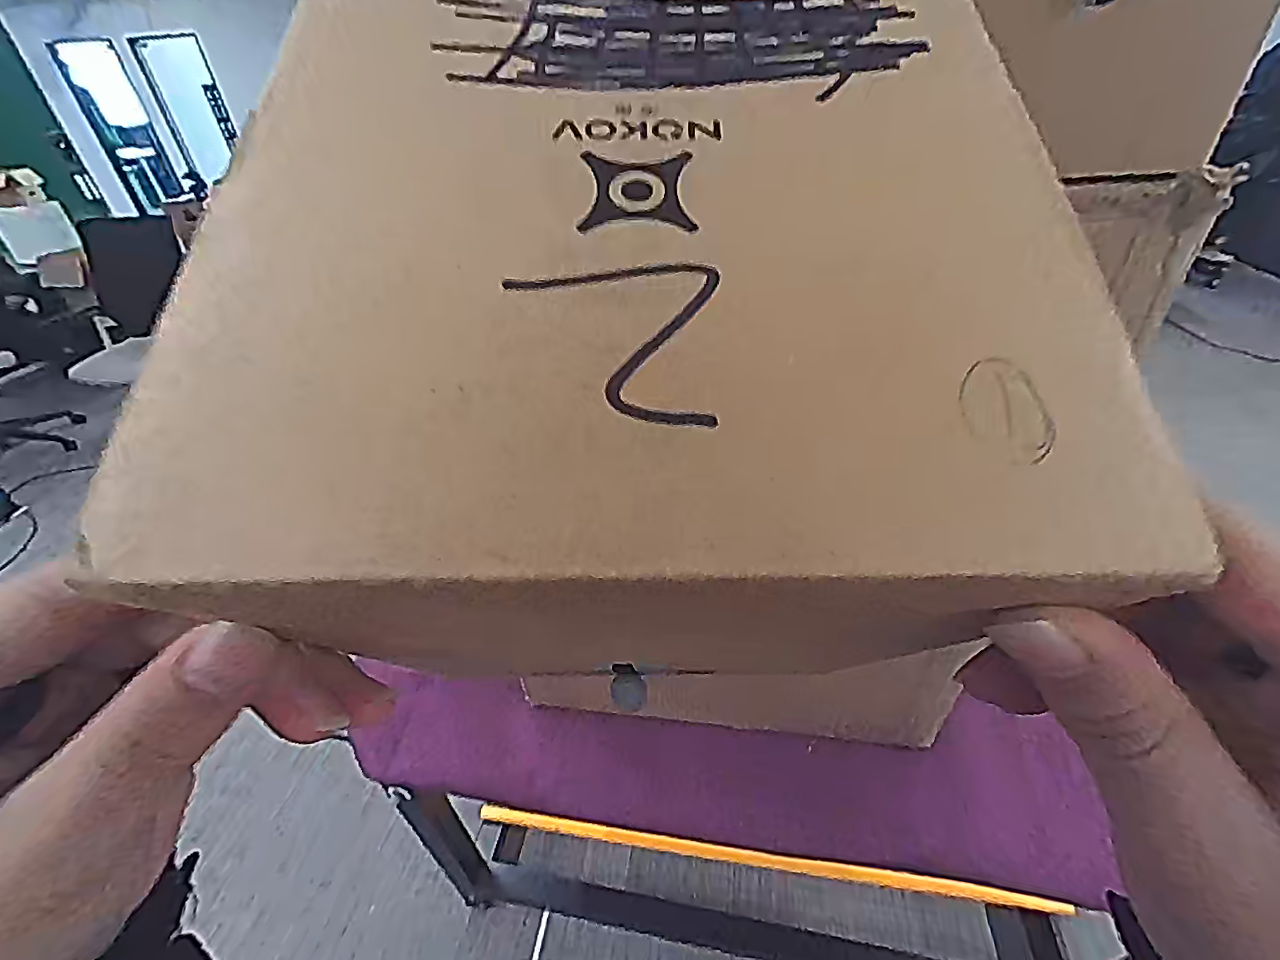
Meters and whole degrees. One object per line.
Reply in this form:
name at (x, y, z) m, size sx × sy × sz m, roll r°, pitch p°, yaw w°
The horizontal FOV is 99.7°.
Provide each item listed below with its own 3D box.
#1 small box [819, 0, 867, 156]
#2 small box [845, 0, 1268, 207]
small box at (0.265, -0.405, 0.501) m, size 0.168 × 0.176 × 0.179 m, roll 3°, pitch 37°, yaw 11°
small box at (0.232, -0.278, 0.332) m, size 0.168 × 0.176 × 0.179 m, roll 4°, pitch 37°, yaw 11°
